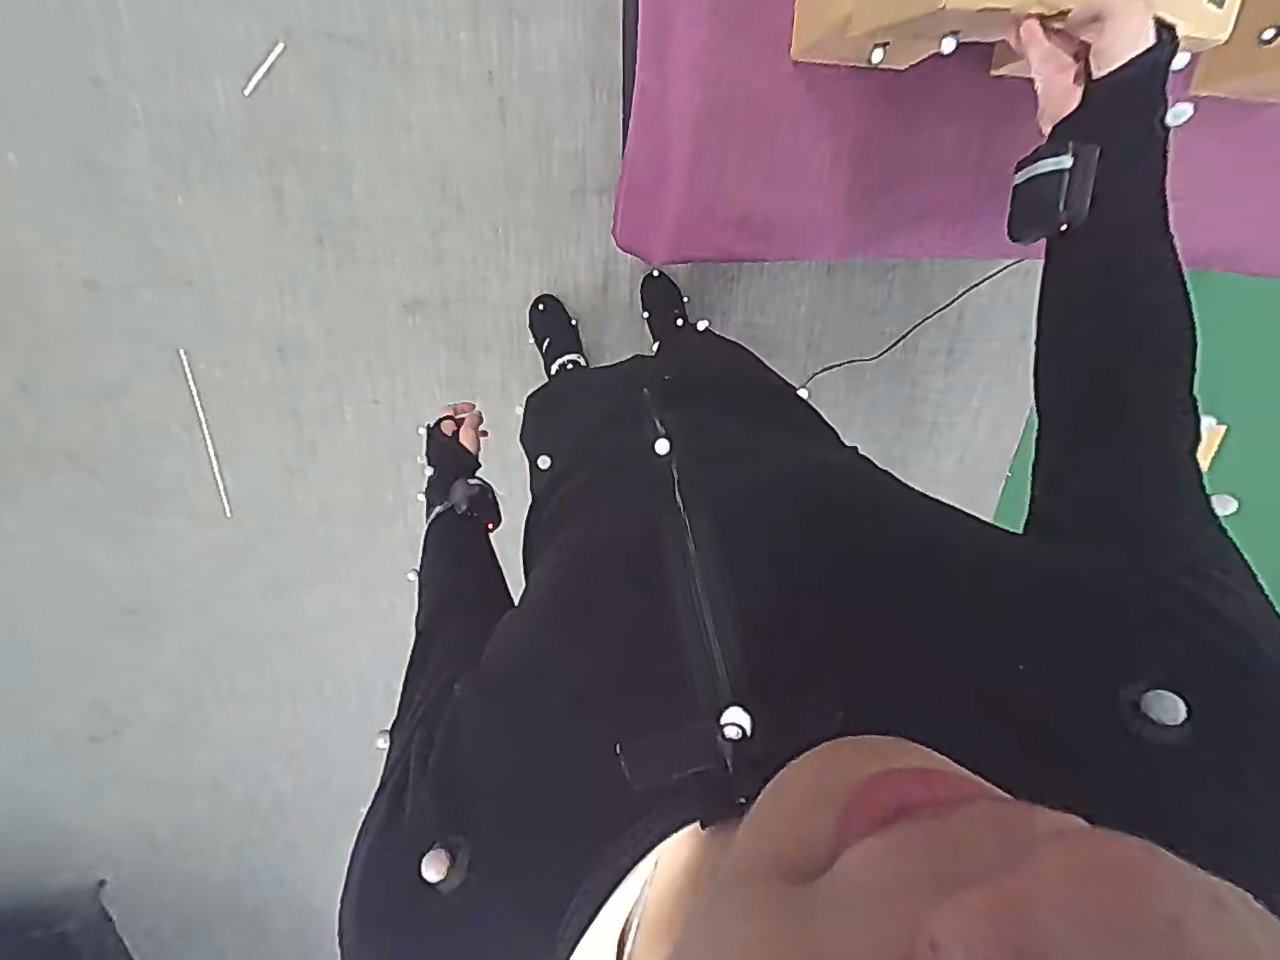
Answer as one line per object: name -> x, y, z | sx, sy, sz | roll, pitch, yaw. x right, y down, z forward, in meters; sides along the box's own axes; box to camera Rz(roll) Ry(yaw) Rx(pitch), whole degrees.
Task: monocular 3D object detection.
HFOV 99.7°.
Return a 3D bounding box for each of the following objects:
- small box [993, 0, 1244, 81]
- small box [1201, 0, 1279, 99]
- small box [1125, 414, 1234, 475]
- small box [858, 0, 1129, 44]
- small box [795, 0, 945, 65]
small box -> 0.577, -0.601, 0.646 | 0.179, 0.176, 0.168 | -2, 113, -7
small box -> 0.894, -0.611, 0.690 | 0.168, 0.176, 0.179 | -1, 112, -8
small box -> 1.808, -0.122, 1.825 | 0.179, 0.176, 0.168 | -2, 112, -9
small box -> 0.311, -0.499, 0.459 | 0.168, 0.176, 0.179 | -3, 123, -7
small box -> 0.289, -0.594, 0.605 | 0.168, 0.176, 0.179 | -3, 114, -9
